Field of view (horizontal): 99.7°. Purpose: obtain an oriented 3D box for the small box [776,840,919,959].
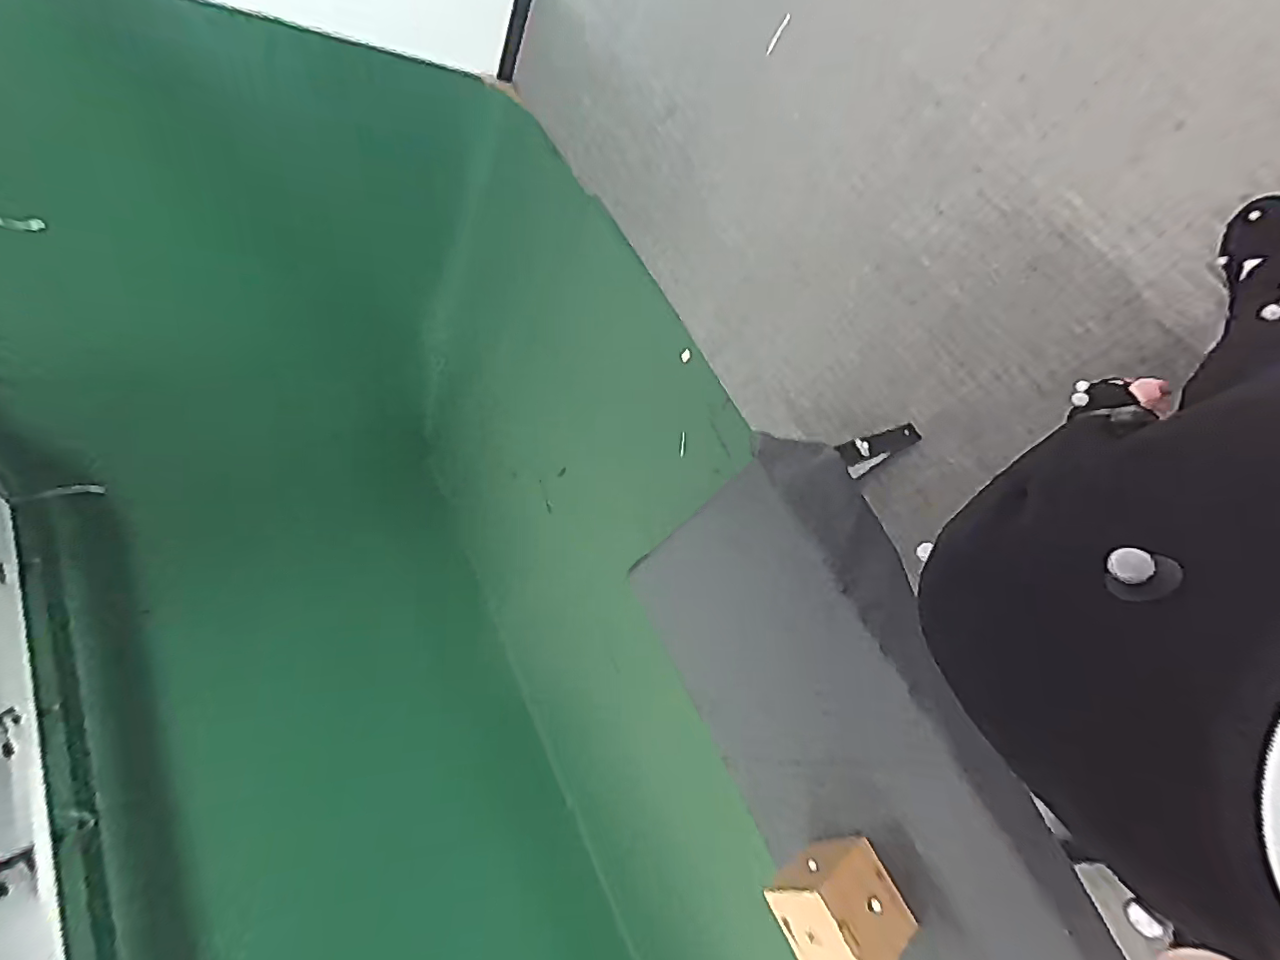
[{"bbox_3d":[0.410,0.839,1.055,0.168,0.176,0.179,56,138,21],"label":"small box"}]
